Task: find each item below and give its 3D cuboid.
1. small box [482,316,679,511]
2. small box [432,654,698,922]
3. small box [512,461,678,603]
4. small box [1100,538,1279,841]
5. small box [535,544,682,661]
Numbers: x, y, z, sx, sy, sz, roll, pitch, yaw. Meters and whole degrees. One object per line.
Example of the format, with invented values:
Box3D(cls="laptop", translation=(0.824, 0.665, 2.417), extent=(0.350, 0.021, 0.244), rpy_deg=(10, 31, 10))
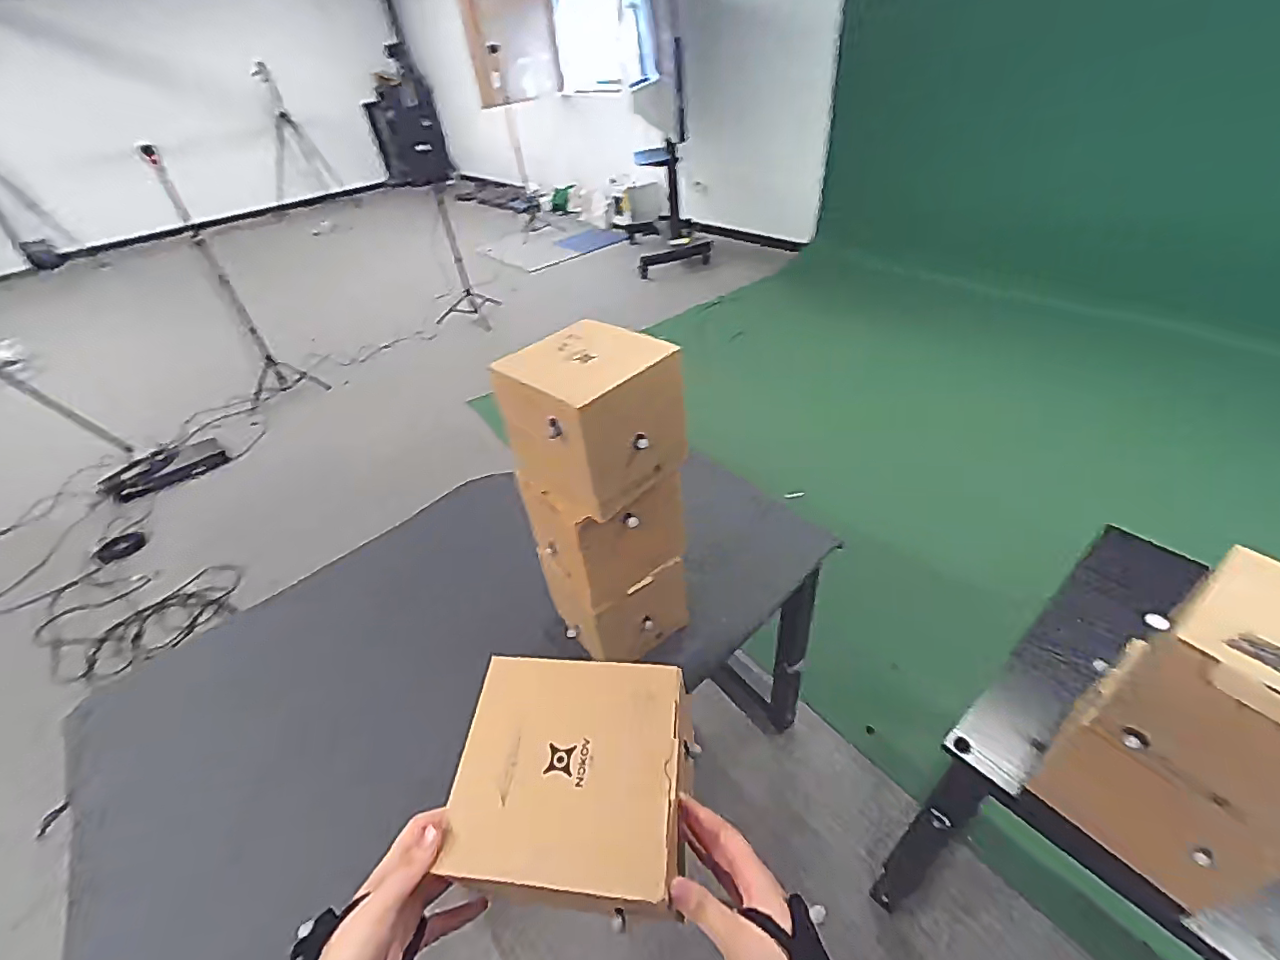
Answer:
Box3D(cls="small box", translation=(-0.066, -0.084, 0.691), extent=(0.179, 0.176, 0.168), rpy_deg=(27, 51, 36))
Box3D(cls="small box", translation=(-0.043, 0.272, 0.478), extent=(0.179, 0.176, 0.168), rpy_deg=(-1, 46, 11))
Box3D(cls="small box", translation=(-0.058, 0.043, 0.796), extent=(0.179, 0.176, 0.168), rpy_deg=(-31, 44, -24))
Box3D(cls="small box", translation=(0.587, 0.195, 0.510), extent=(0.179, 0.176, 0.168), rpy_deg=(-29, 46, -25))
Box3D(cls="small box", translation=(-0.046, 0.173, 0.894), extent=(0.168, 0.176, 0.179), rpy_deg=(-30, 44, -23))
